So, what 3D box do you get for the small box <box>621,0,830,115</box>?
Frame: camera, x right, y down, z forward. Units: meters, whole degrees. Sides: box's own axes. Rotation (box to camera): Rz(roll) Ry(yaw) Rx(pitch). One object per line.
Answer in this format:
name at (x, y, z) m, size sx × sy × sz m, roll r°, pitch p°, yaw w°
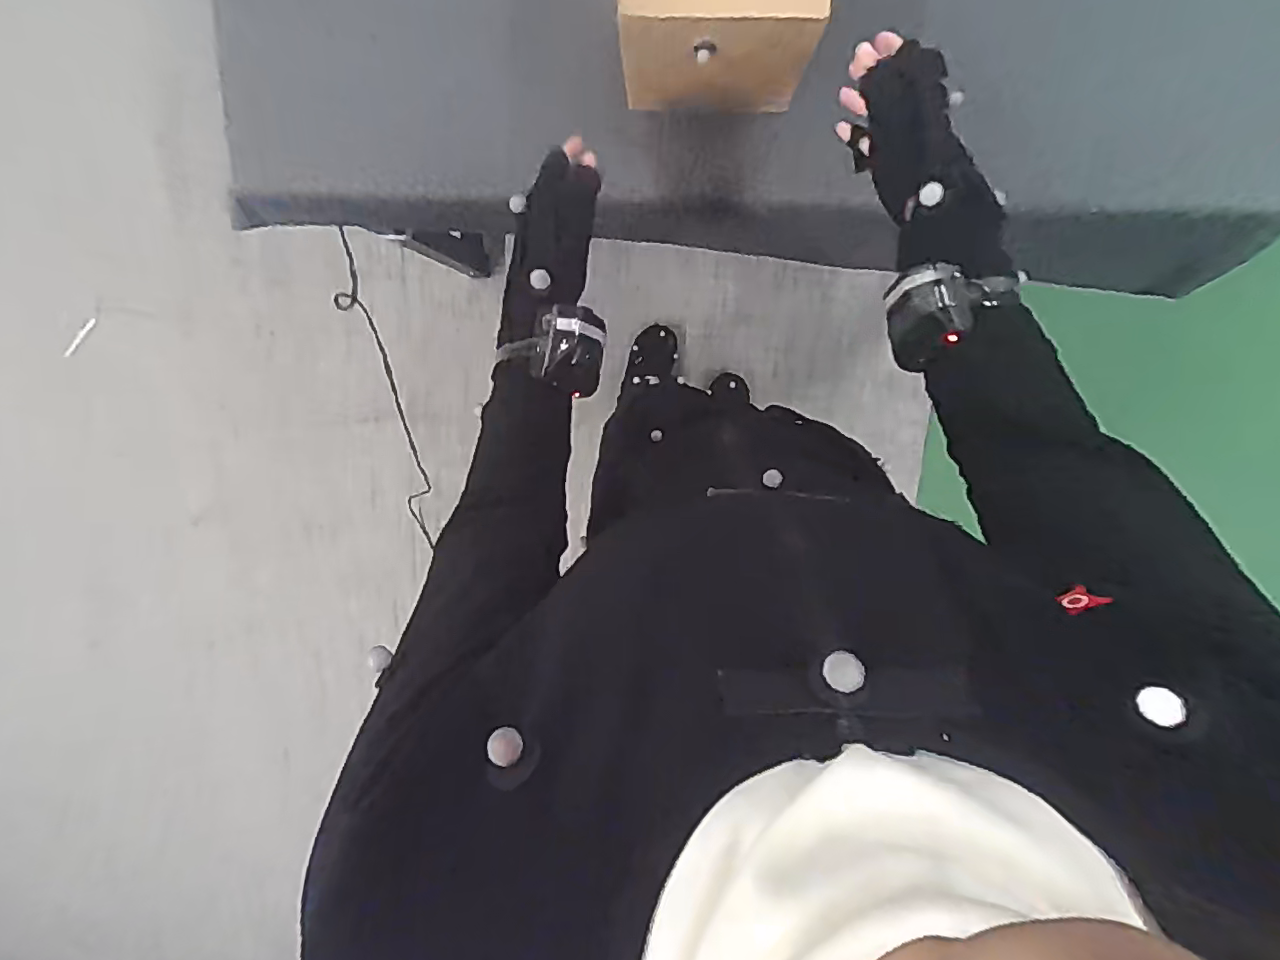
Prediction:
small box at (0.077, -0.477, 0.517) m, size 0.179 × 0.176 × 0.168 m, roll 2°, pitch 101°, yaw 2°
